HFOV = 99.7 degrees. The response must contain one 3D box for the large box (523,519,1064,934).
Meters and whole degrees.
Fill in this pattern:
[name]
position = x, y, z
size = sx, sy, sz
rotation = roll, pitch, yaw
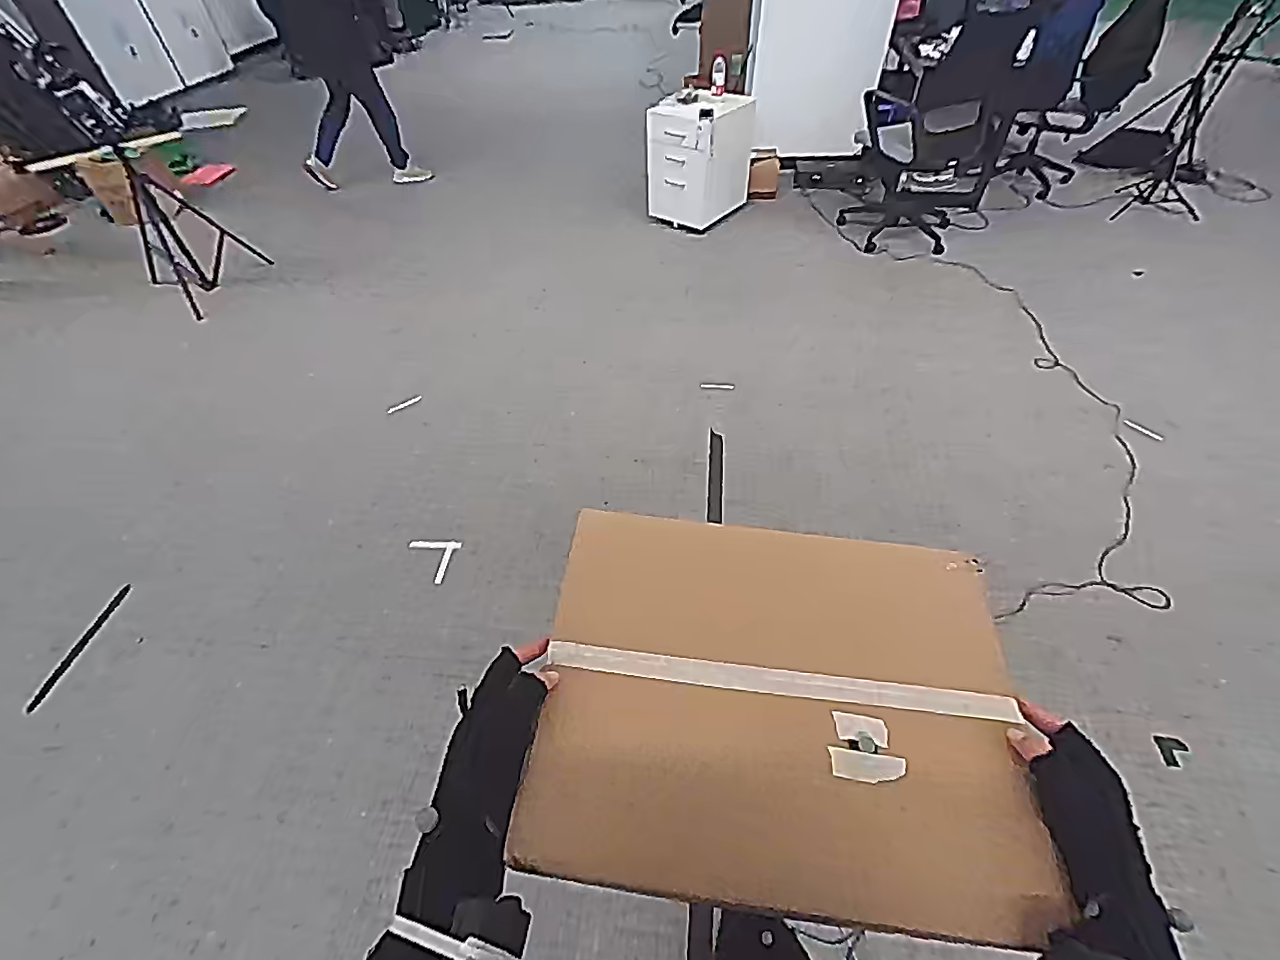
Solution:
[large box]
position = 0.119, 0.271, 0.600
size = 0.408, 0.320, 0.320
rotation = 7, 53, 3
